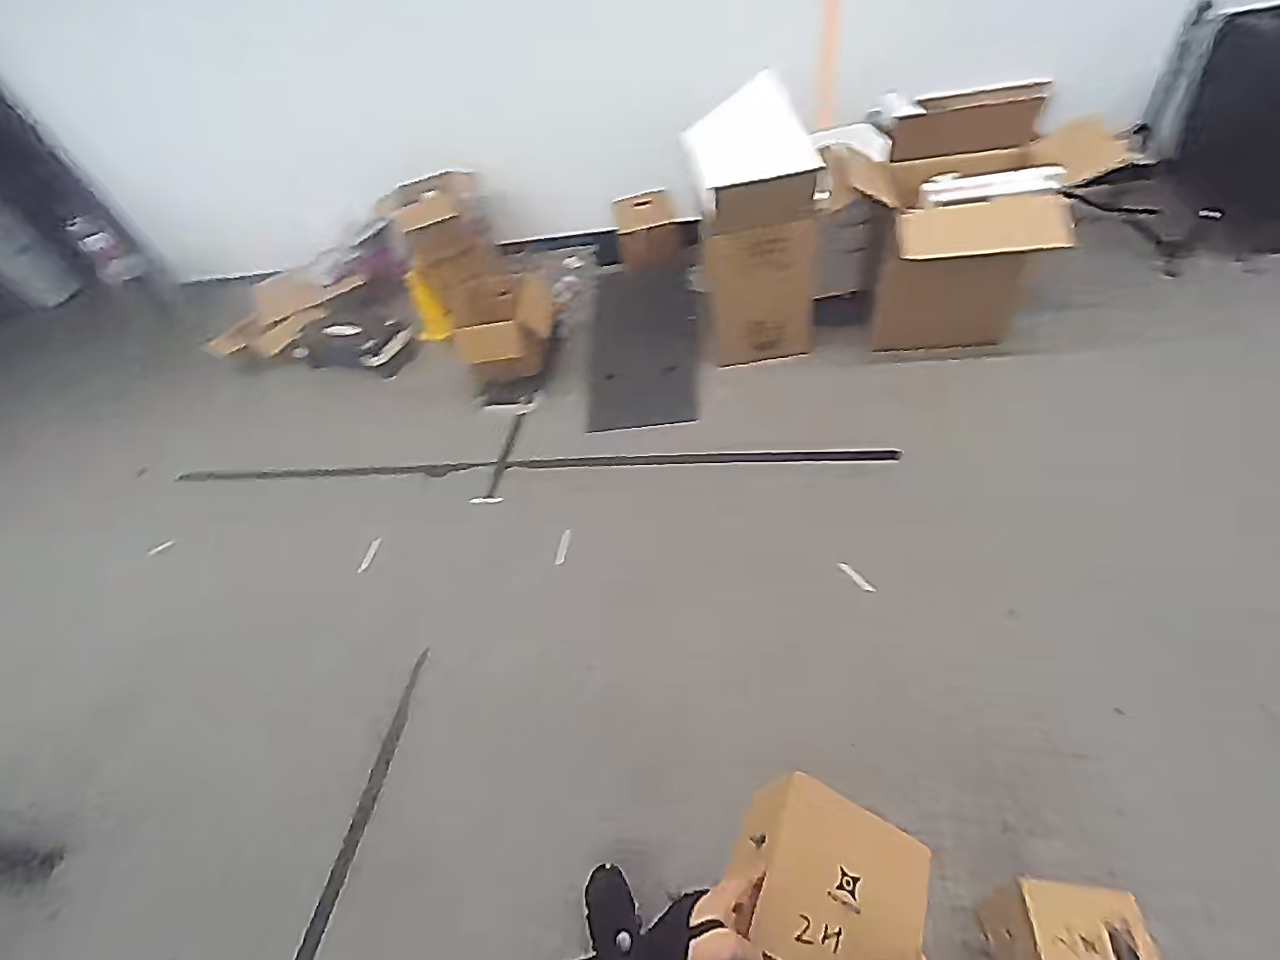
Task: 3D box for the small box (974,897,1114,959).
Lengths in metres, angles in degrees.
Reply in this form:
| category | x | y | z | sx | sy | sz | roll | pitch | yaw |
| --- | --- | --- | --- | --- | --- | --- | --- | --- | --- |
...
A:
| category | x | y | z | sx | sy | sz | roll | pitch | yaw |
| --- | --- | --- | --- | --- | --- | --- | --- | --- | --- |
| small box | 0.795 | 0.936 | 1.061 | 0.179 | 0.176 | 0.168 | -2 | 48 | 11 |

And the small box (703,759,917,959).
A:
| category | x | y | z | sx | sy | sz | roll | pitch | yaw |
| --- | --- | --- | --- | --- | --- | --- | --- | --- | --- |
| small box | 0.189 | 0.467 | 0.625 | 0.168 | 0.176 | 0.179 | 26 | 50 | 11 |
